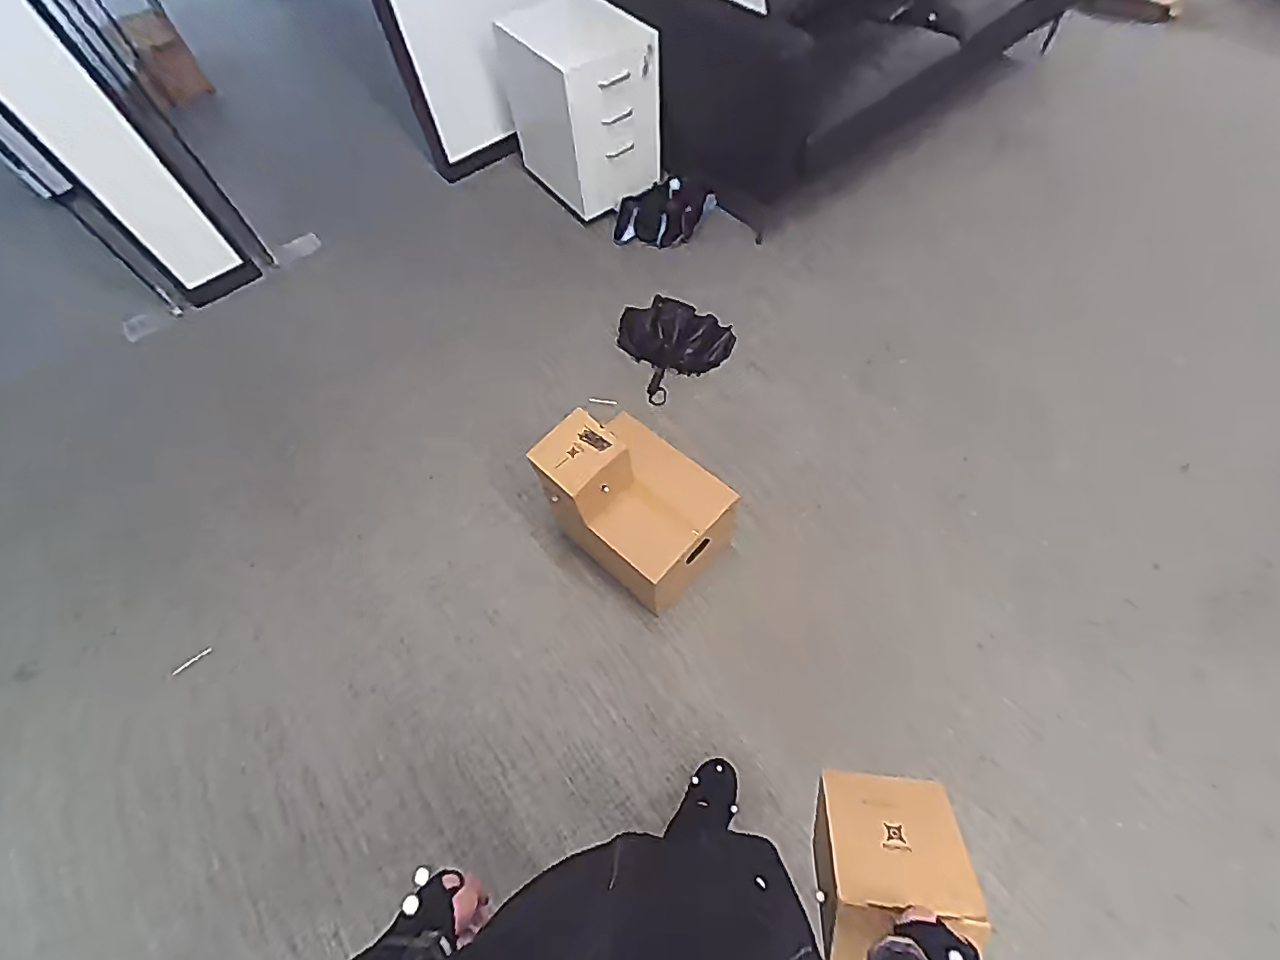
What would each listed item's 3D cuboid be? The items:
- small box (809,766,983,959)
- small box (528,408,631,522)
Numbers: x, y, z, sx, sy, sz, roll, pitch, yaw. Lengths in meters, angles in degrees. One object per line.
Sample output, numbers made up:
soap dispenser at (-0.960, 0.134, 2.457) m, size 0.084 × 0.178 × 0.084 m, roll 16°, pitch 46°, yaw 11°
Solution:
small box at (0.326, 0.528, 0.726) m, size 0.168 × 0.176 × 0.179 m, roll 3°, pitch 23°, yaw 10°
small box at (-0.137, -0.033, 1.303) m, size 0.168 × 0.176 × 0.179 m, roll 40°, pitch 75°, yaw 22°
